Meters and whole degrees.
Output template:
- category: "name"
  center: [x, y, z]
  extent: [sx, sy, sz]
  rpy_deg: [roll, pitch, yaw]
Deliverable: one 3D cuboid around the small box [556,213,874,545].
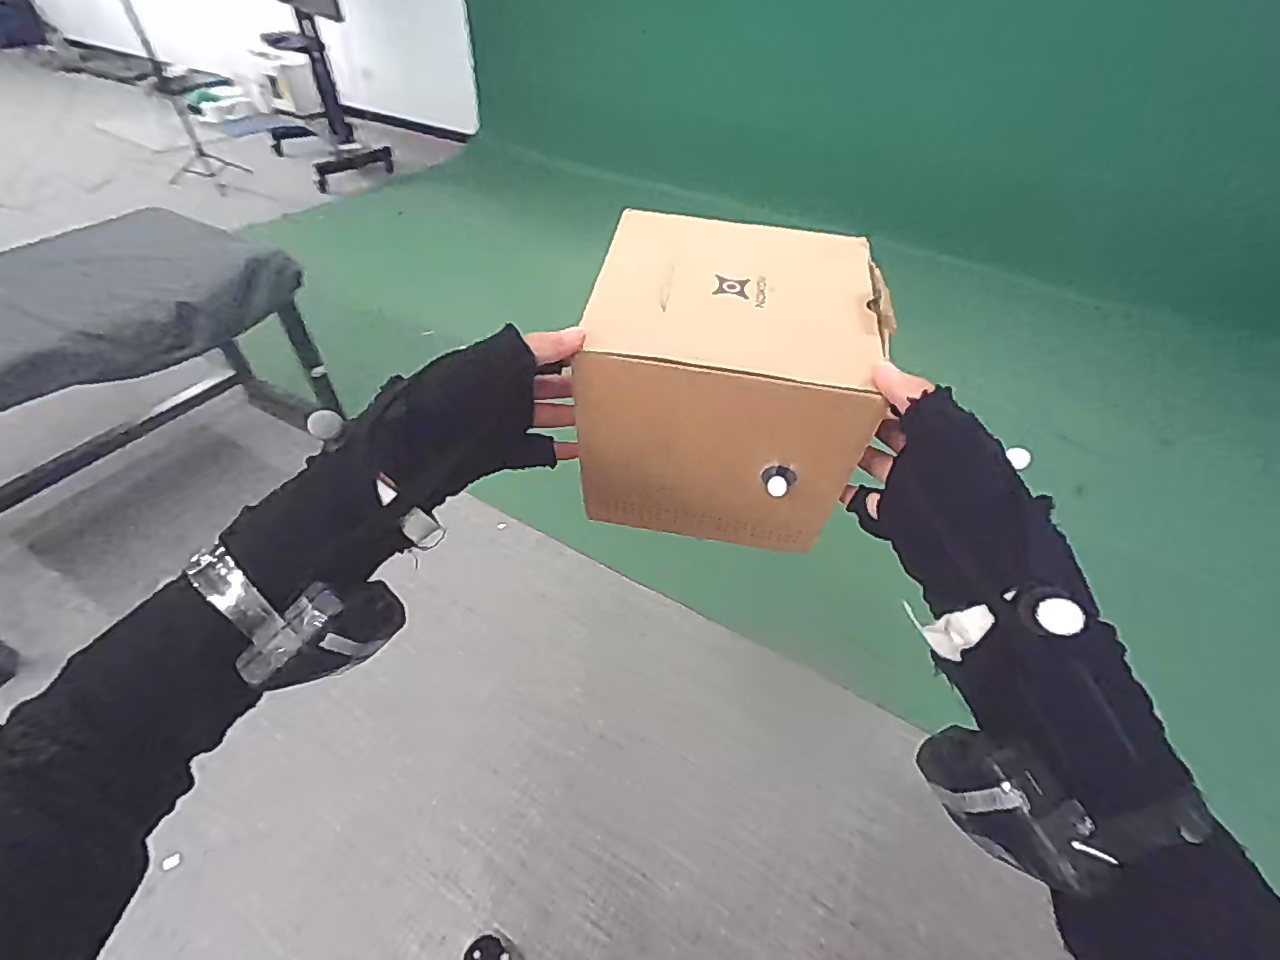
- category: "small box"
  center: [0.050, -0.069, 0.401]
  extent: [0.179, 0.176, 0.168]
  rpy_deg: [8, 51, 5]
